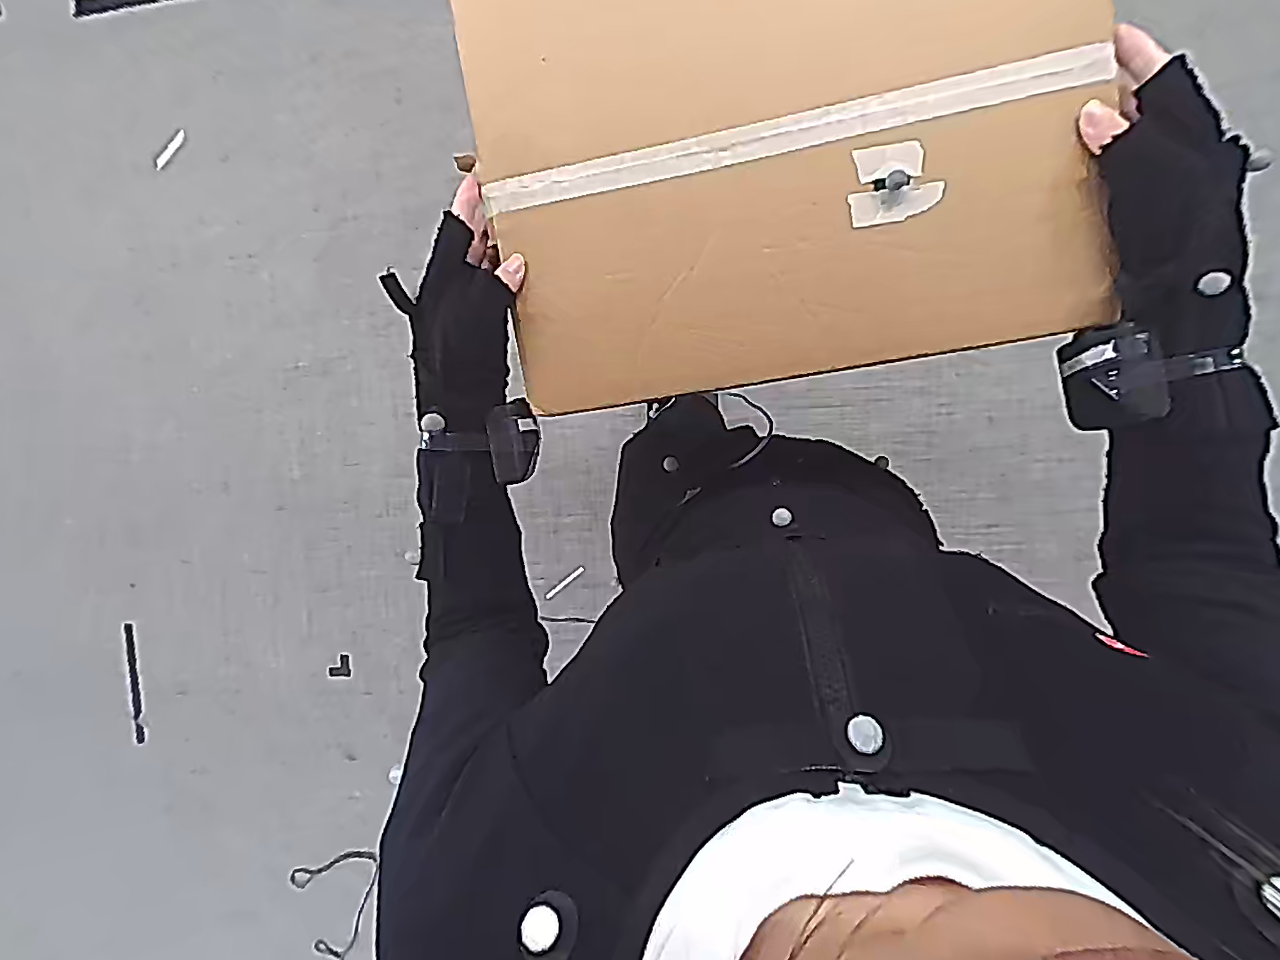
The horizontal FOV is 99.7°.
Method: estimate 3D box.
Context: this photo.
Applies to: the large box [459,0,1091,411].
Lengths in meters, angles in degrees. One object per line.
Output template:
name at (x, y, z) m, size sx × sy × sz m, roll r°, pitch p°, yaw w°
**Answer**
large box at (0.103, -0.258, 0.519) m, size 0.408 × 0.320 × 0.320 m, roll -9°, pitch 100°, yaw 6°
